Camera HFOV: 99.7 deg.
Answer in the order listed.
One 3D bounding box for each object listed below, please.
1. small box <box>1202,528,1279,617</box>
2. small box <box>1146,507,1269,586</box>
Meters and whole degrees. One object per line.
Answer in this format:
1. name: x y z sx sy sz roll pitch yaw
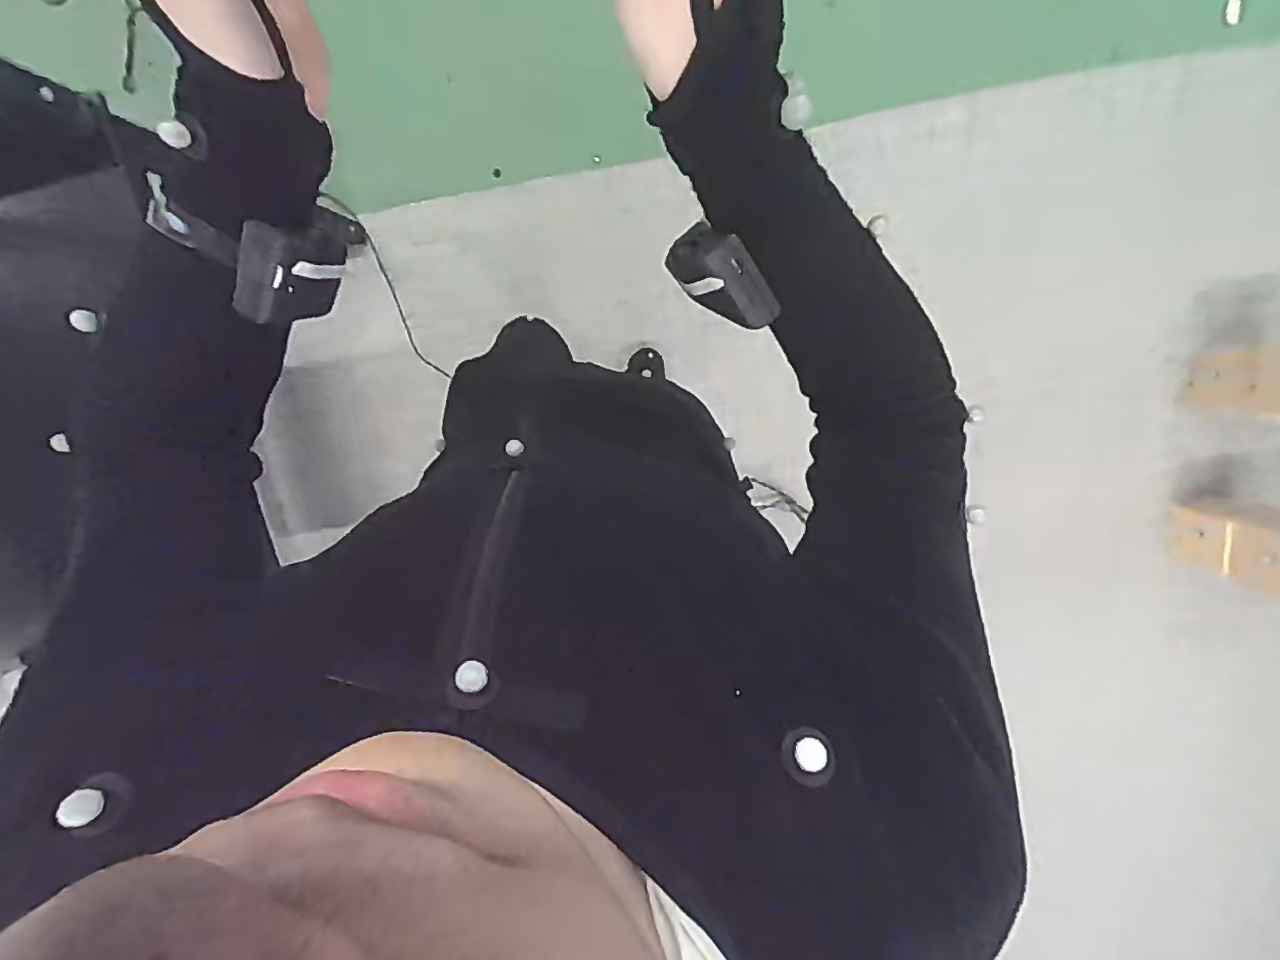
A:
1. small box: 1.593 0.226 1.371 0.168 0.176 0.179 -5 102 3
2. small box: 1.593 0.184 1.530 0.179 0.176 0.168 -7 103 3
